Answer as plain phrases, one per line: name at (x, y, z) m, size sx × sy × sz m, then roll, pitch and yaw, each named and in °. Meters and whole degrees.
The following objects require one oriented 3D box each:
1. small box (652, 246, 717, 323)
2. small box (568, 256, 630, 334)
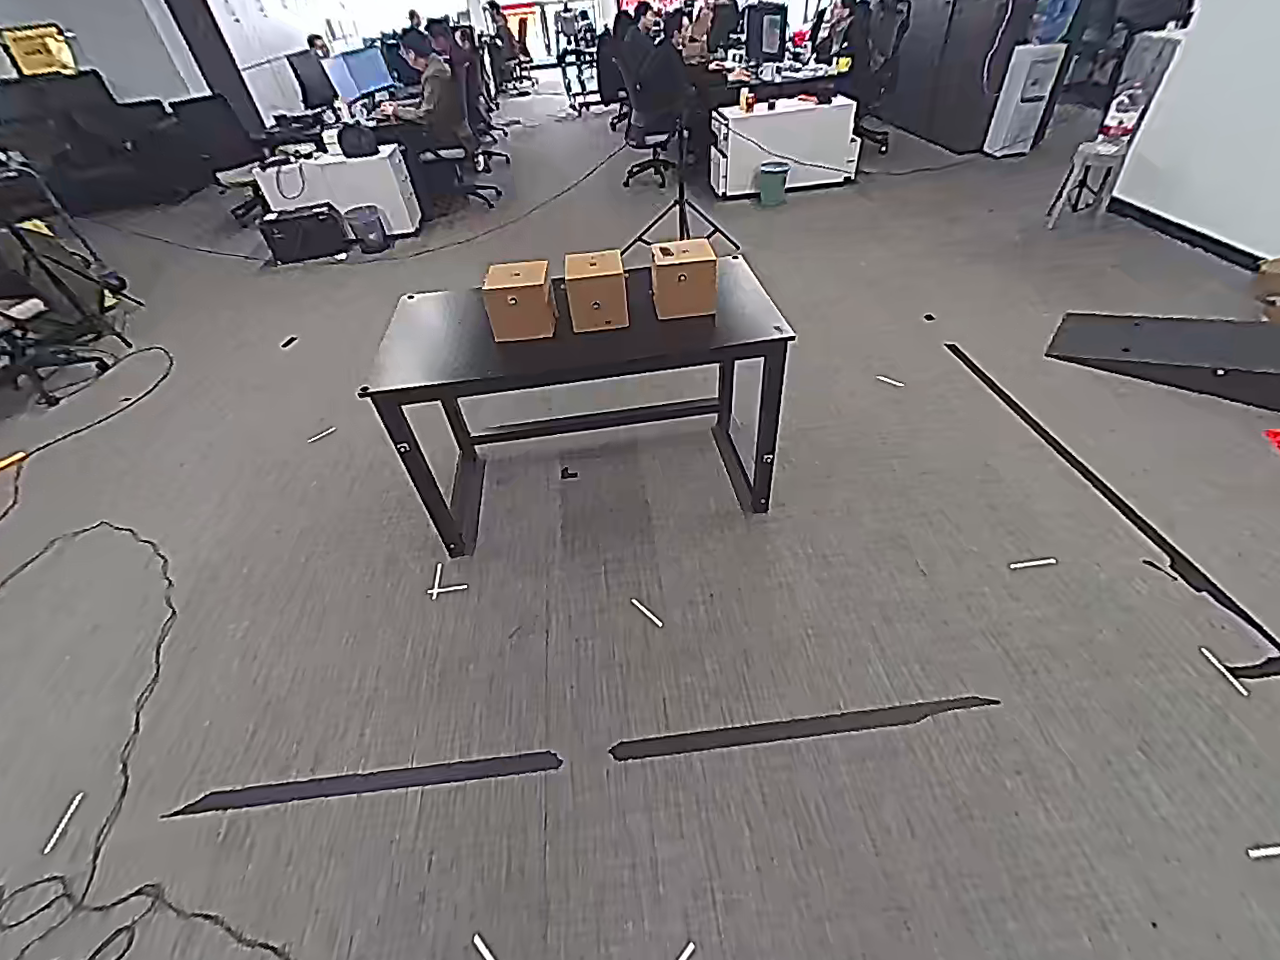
small box at (0.136, -0.592, 1.646) m, size 0.179 × 0.176 × 0.168 m, roll -6°, pitch 43°, yaw -1°
small box at (-0.122, -0.552, 1.632) m, size 0.168 × 0.176 × 0.179 m, roll -6°, pitch 43°, yaw -1°
